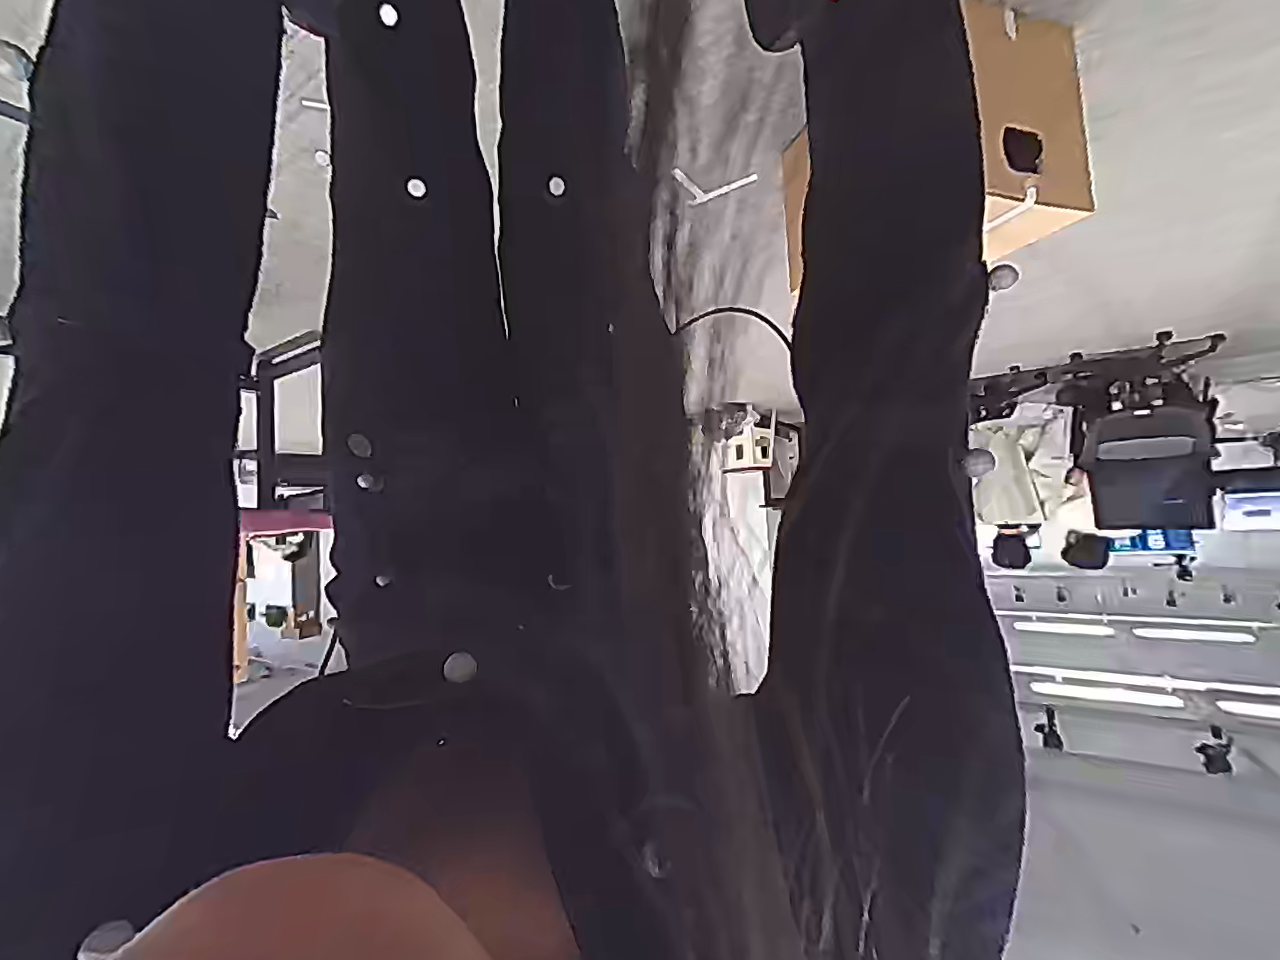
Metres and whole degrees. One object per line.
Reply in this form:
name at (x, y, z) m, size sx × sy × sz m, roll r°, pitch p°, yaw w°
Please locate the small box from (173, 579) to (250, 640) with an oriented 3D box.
small box at (-1.423, 0.420, 1.792) m, size 0.179 × 0.176 × 0.168 m, roll -6°, pitch 176°, yaw 37°
